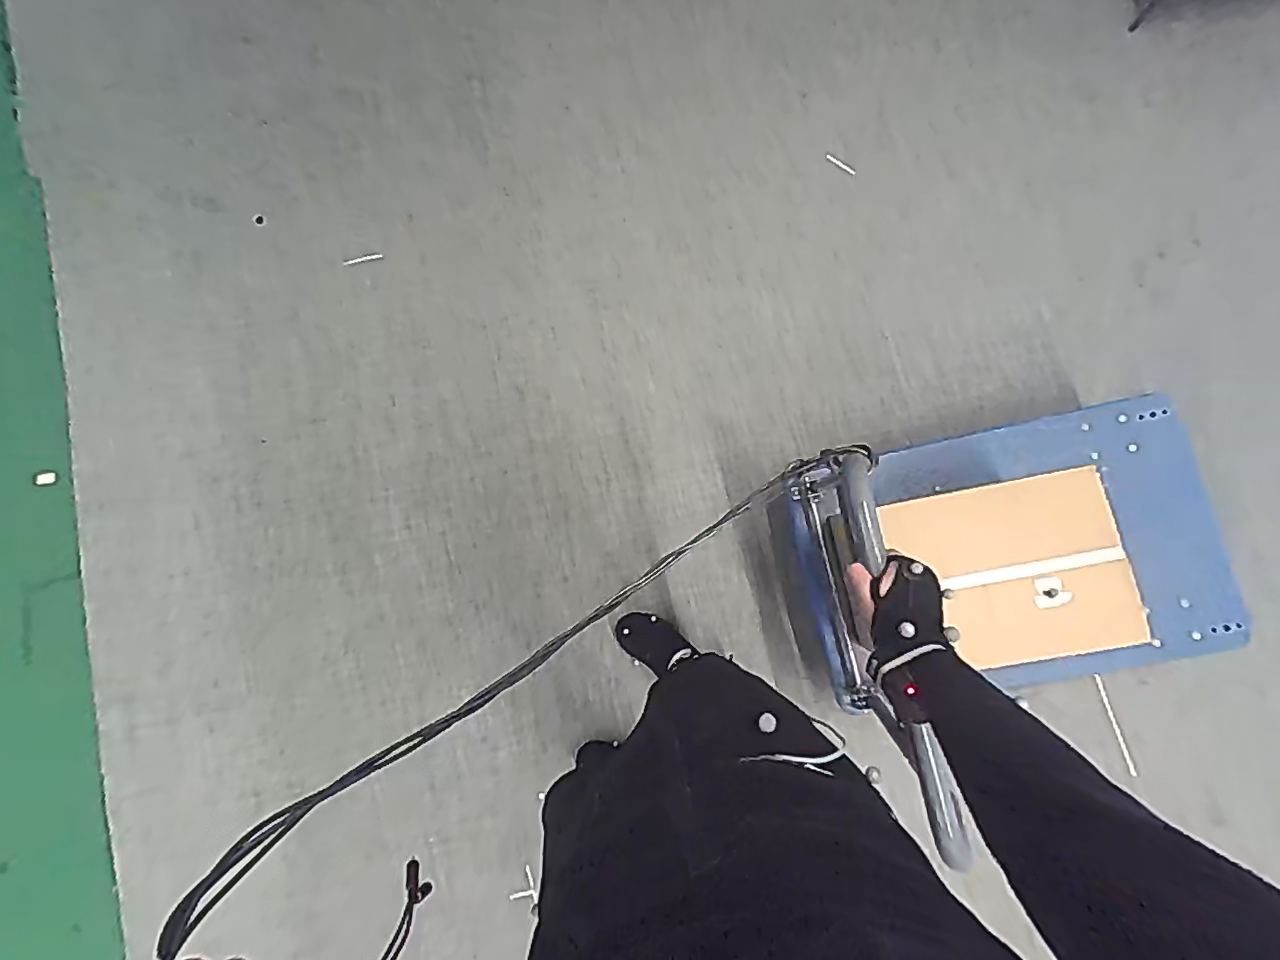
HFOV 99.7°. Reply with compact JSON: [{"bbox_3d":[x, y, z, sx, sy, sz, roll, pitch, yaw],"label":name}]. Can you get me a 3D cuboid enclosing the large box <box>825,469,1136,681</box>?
[{"bbox_3d":[0.645,0.187,1.108,0.408,0.320,0.320,-12,83,5],"label":"large box"}]
